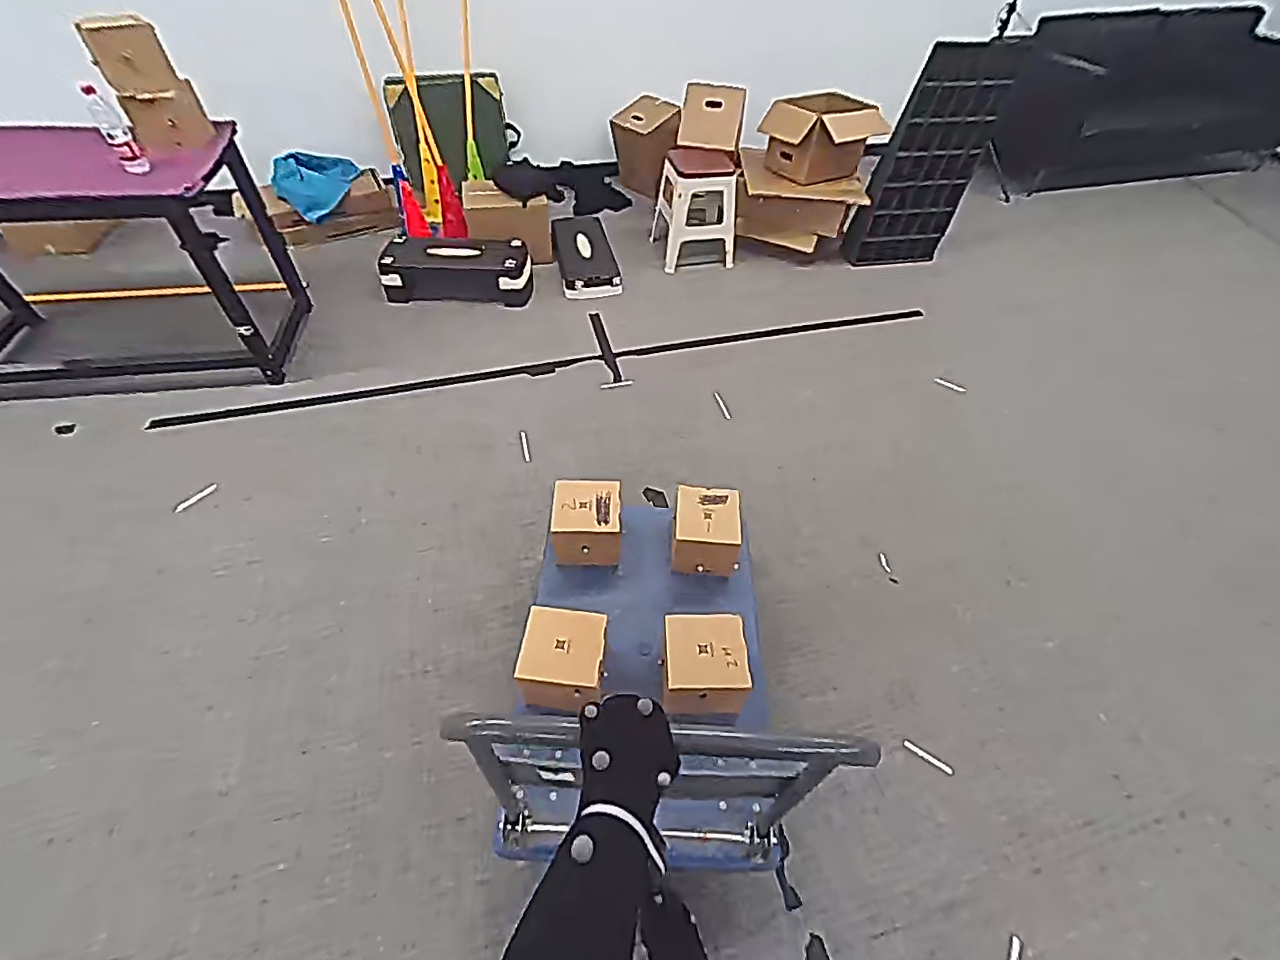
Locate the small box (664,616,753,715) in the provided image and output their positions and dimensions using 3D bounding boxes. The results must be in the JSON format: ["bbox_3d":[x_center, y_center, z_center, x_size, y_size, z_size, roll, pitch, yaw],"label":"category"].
[{"bbox_3d":[0.145,0.421,1.221,0.179,0.176,0.168,0,49,-2],"label":"small box"}]

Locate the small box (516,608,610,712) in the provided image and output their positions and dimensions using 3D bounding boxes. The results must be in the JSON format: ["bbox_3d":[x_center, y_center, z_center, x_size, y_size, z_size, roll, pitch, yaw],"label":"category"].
[{"bbox_3d":[-0.165,0.409,1.218,0.179,0.176,0.168,7,50,1],"label":"small box"}]

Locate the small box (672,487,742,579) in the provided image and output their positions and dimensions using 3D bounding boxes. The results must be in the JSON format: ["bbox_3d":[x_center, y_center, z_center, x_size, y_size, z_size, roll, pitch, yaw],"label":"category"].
[{"bbox_3d":[0.177,0.143,1.458,0.168,0.176,0.179,5,51,1],"label":"small box"}]
